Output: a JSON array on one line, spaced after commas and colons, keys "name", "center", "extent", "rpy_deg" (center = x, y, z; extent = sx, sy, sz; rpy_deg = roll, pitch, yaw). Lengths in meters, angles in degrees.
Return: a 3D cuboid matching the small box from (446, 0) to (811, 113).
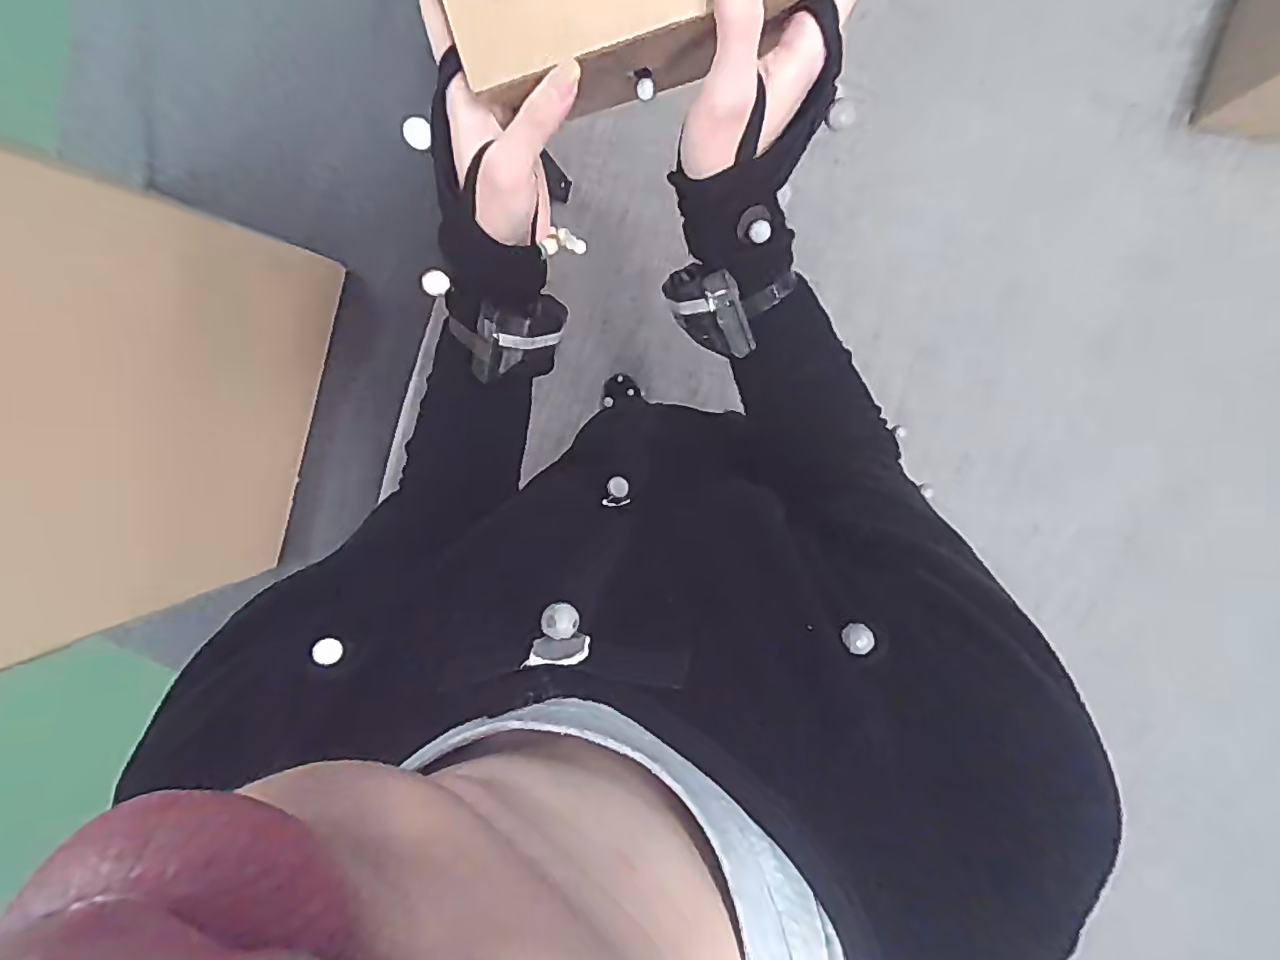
[{"name": "small box", "center": [-0.007, -0.318, 0.287], "extent": [0.179, 0.176, 0.168], "rpy_deg": [-7, 117, 15]}]
